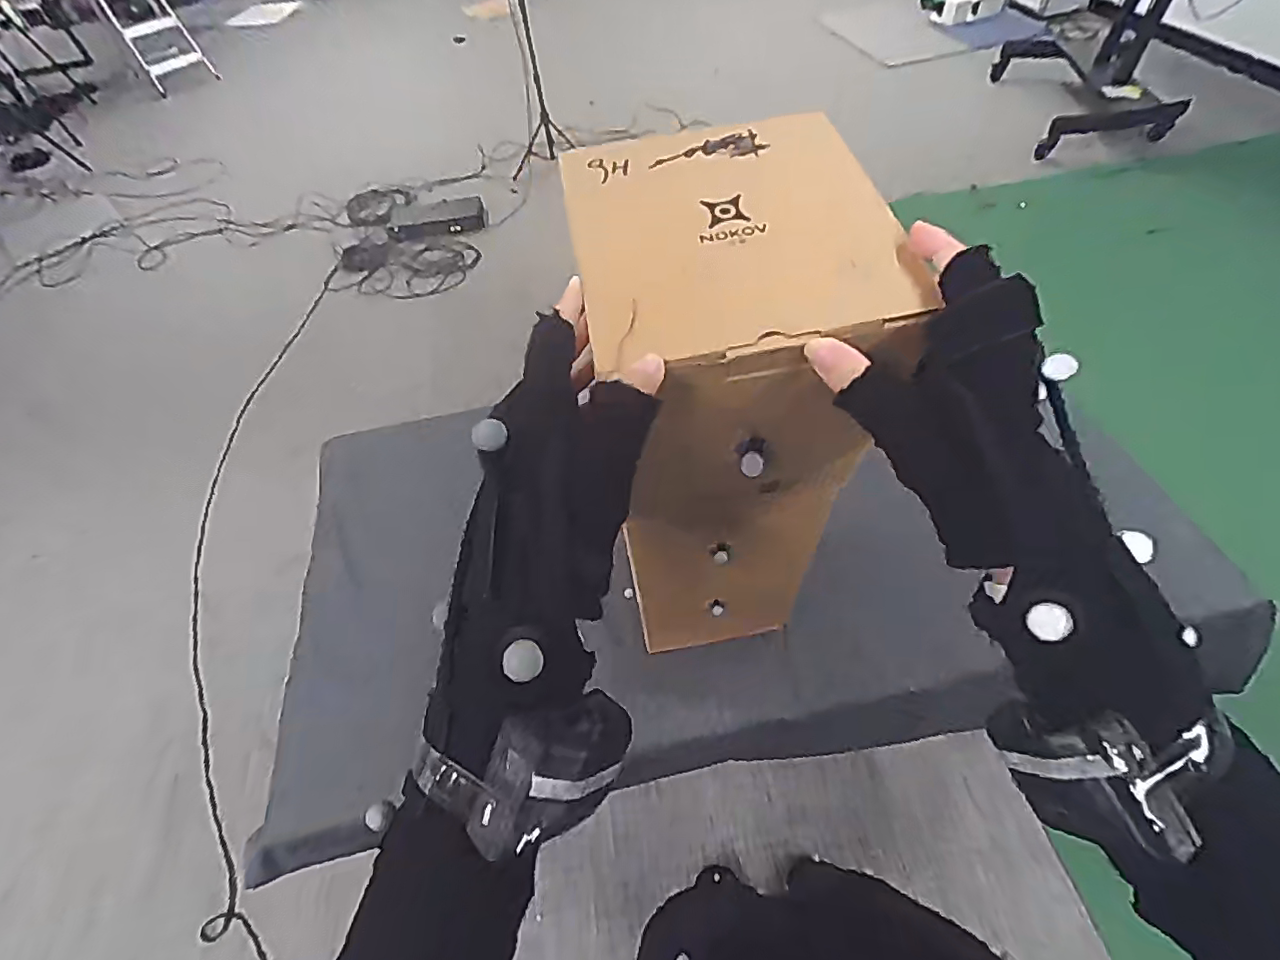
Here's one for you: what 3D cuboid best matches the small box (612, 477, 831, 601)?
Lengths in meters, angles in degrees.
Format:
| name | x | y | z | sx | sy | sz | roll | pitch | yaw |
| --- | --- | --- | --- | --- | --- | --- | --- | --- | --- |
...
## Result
| name | x | y | z | sx | sy | sz | roll | pitch | yaw |
| --- | --- | --- | --- | --- | --- | --- | --- | --- | --- |
| small box | 0.063 | 0.002 | 0.535 | 0.179 | 0.176 | 0.168 | -12 | 54 | 0 |

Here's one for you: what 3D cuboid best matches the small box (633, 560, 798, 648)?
| name | x | y | z | sx | sy | sz | roll | pitch | yaw |
| --- | --- | --- | --- | --- | --- | --- | --- | --- | --- |
| small box | 0.076 | 0.093 | 0.671 | 0.179 | 0.176 | 0.168 | -11 | 55 | -2 |

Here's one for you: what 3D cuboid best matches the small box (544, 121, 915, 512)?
| name | x | y | z | sx | sy | sz | roll | pitch | yaw |
| --- | --- | --- | --- | --- | --- | --- | --- | --- | --- |
| small box | 0.043 | -0.091 | 0.360 | 0.168 | 0.176 | 0.179 | -11 | 62 | -2 |
